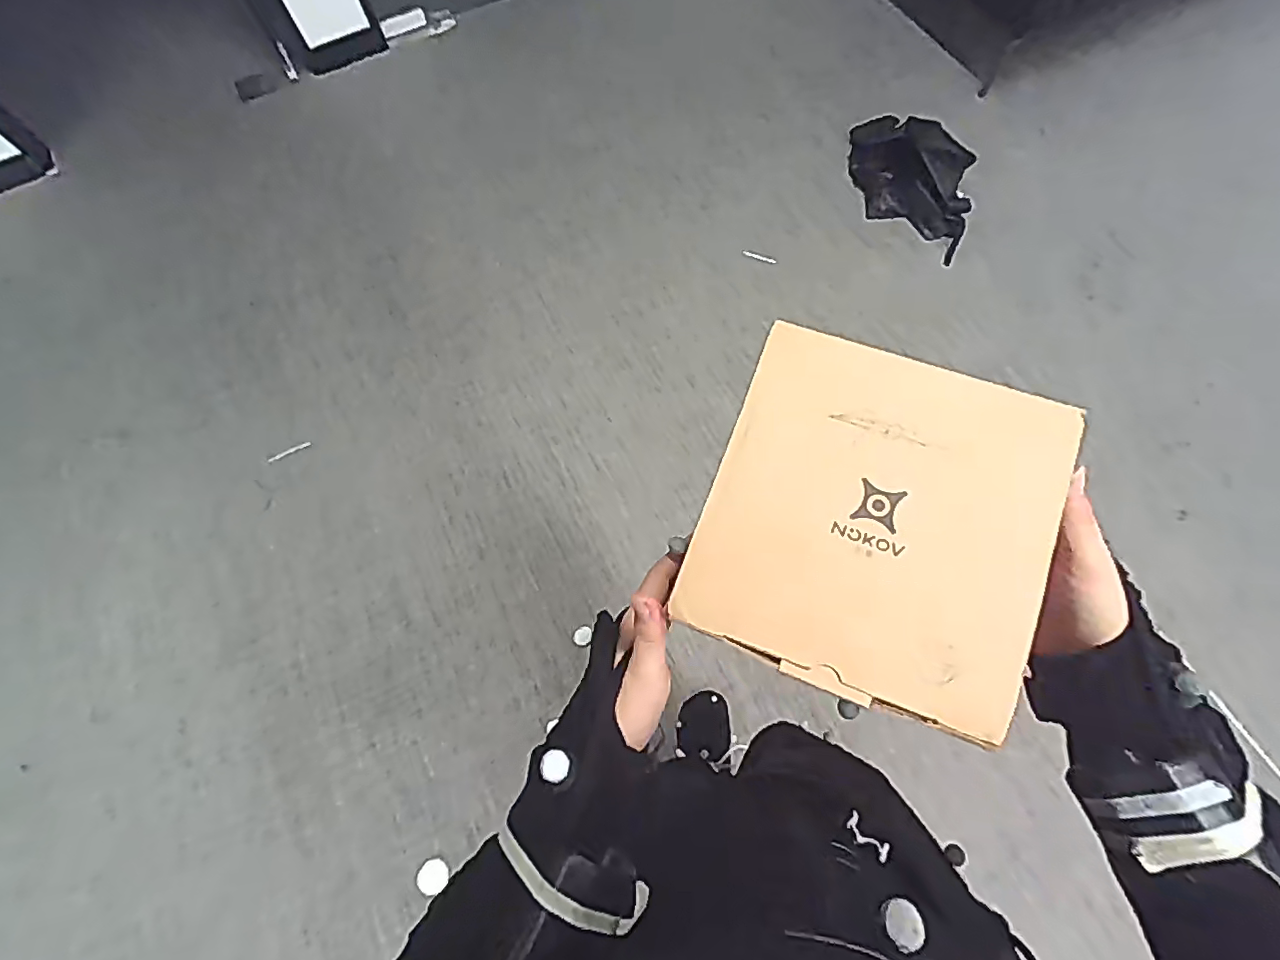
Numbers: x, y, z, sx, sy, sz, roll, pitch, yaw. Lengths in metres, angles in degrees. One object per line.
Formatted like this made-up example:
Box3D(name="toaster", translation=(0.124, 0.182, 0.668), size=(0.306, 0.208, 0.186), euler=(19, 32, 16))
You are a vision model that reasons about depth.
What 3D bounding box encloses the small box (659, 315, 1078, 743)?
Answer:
Box3D(name="small box", translation=(0.122, 0.032, 0.347), size=(0.168, 0.176, 0.179), euler=(20, 78, 9))
